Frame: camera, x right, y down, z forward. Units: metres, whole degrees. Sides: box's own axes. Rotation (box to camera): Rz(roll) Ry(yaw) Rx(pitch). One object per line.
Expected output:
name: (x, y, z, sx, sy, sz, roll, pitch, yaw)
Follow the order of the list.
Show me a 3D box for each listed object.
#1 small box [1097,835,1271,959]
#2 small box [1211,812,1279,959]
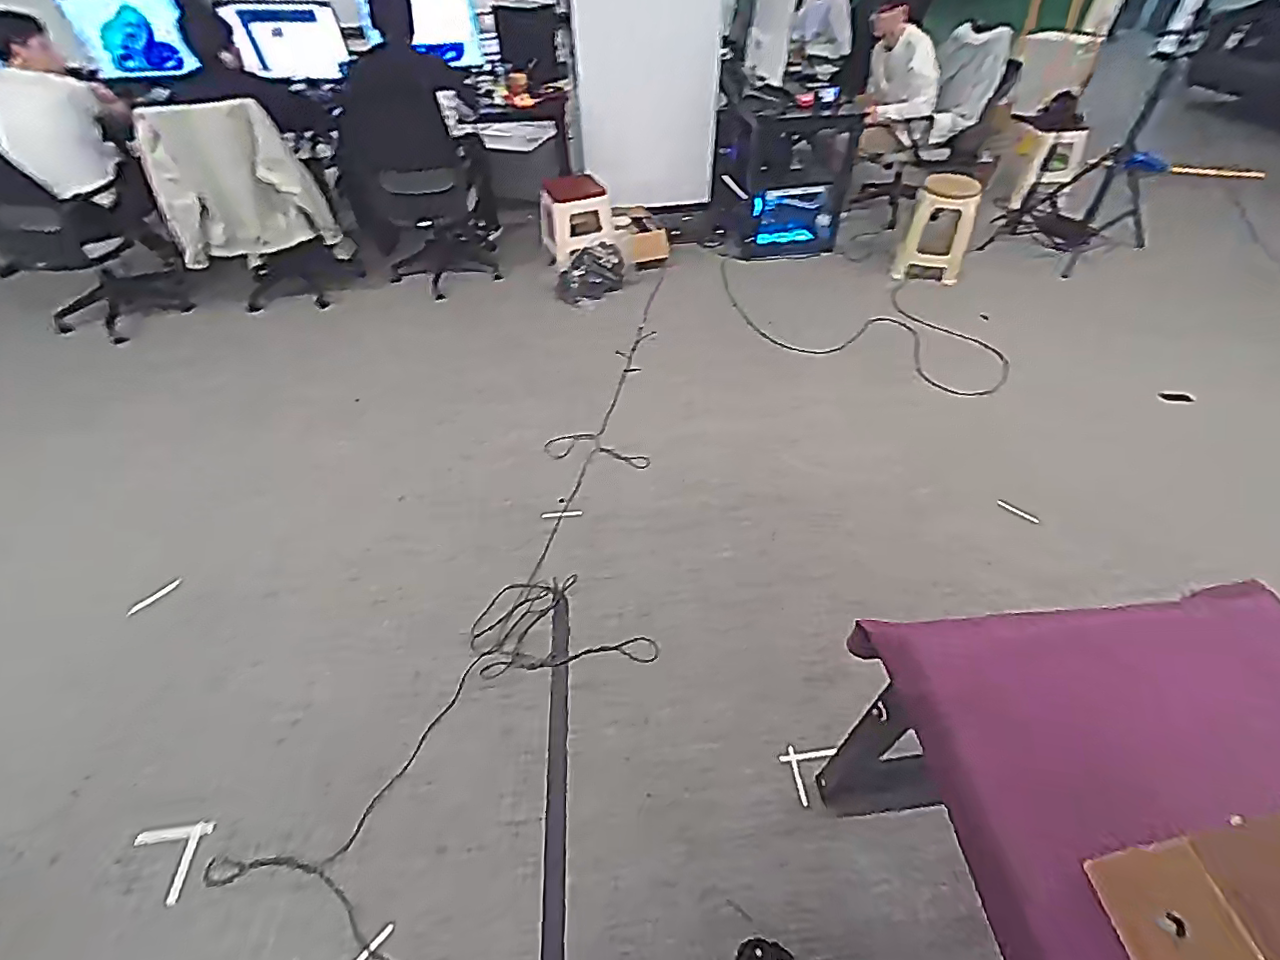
small box: (0.599, 0.452, 0.519, 0.179, 0.176, 0.168, -3, 47, -3)
small box: (0.603, 0.337, 0.402, 0.179, 0.176, 0.168, -4, 47, -3)
